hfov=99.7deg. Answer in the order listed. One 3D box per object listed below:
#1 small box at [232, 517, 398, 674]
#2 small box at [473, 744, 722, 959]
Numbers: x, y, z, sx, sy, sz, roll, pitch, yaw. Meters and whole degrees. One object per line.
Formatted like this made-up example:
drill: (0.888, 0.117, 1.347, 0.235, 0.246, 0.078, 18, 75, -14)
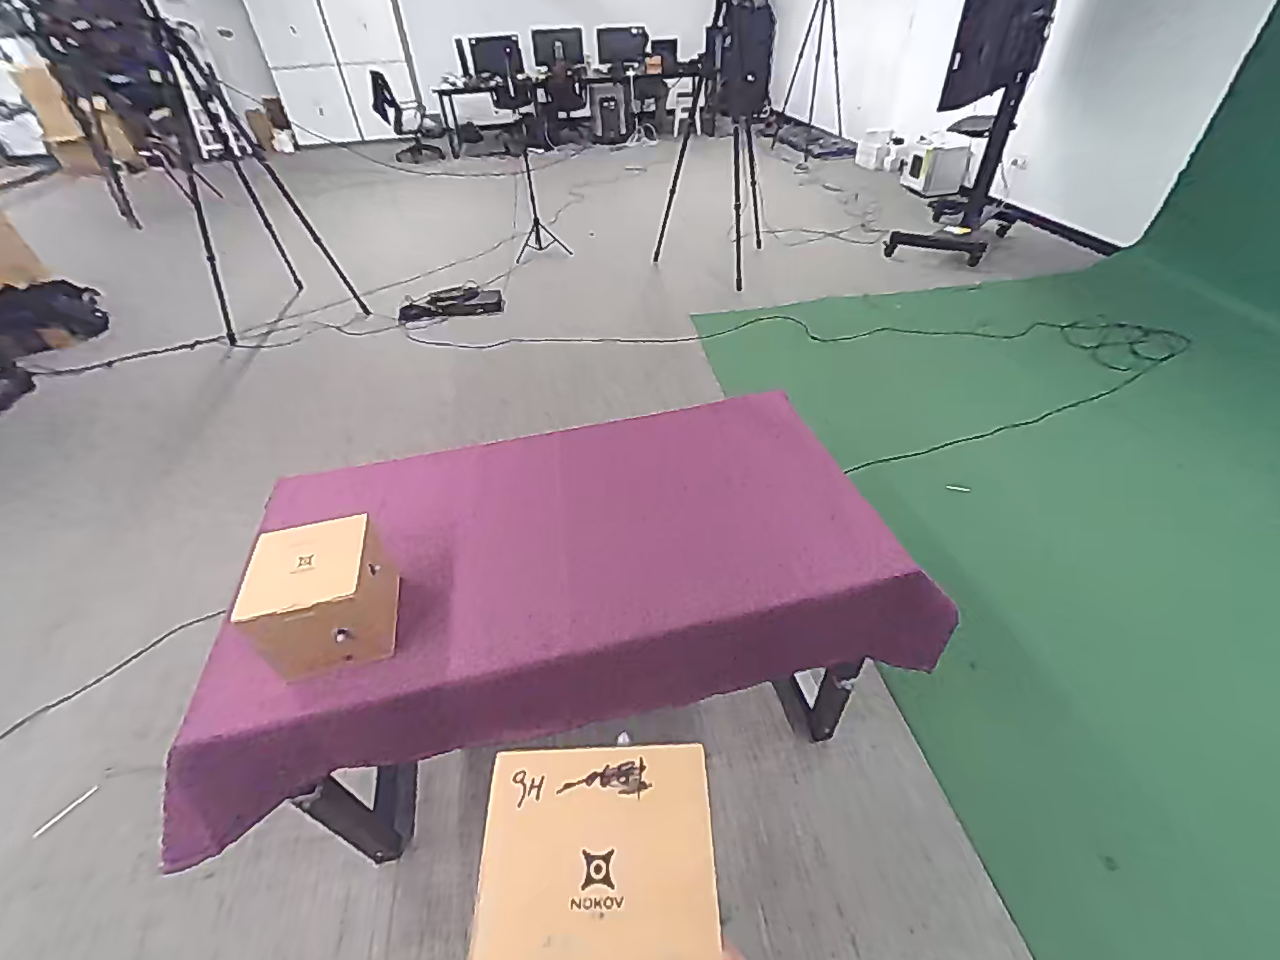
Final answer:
small box: (-0.503, 0.190, 0.870, 0.168, 0.176, 0.179, -11, 42, -10)
small box: (-0.024, 0.327, 0.437, 0.168, 0.176, 0.179, -3, 52, 1)
